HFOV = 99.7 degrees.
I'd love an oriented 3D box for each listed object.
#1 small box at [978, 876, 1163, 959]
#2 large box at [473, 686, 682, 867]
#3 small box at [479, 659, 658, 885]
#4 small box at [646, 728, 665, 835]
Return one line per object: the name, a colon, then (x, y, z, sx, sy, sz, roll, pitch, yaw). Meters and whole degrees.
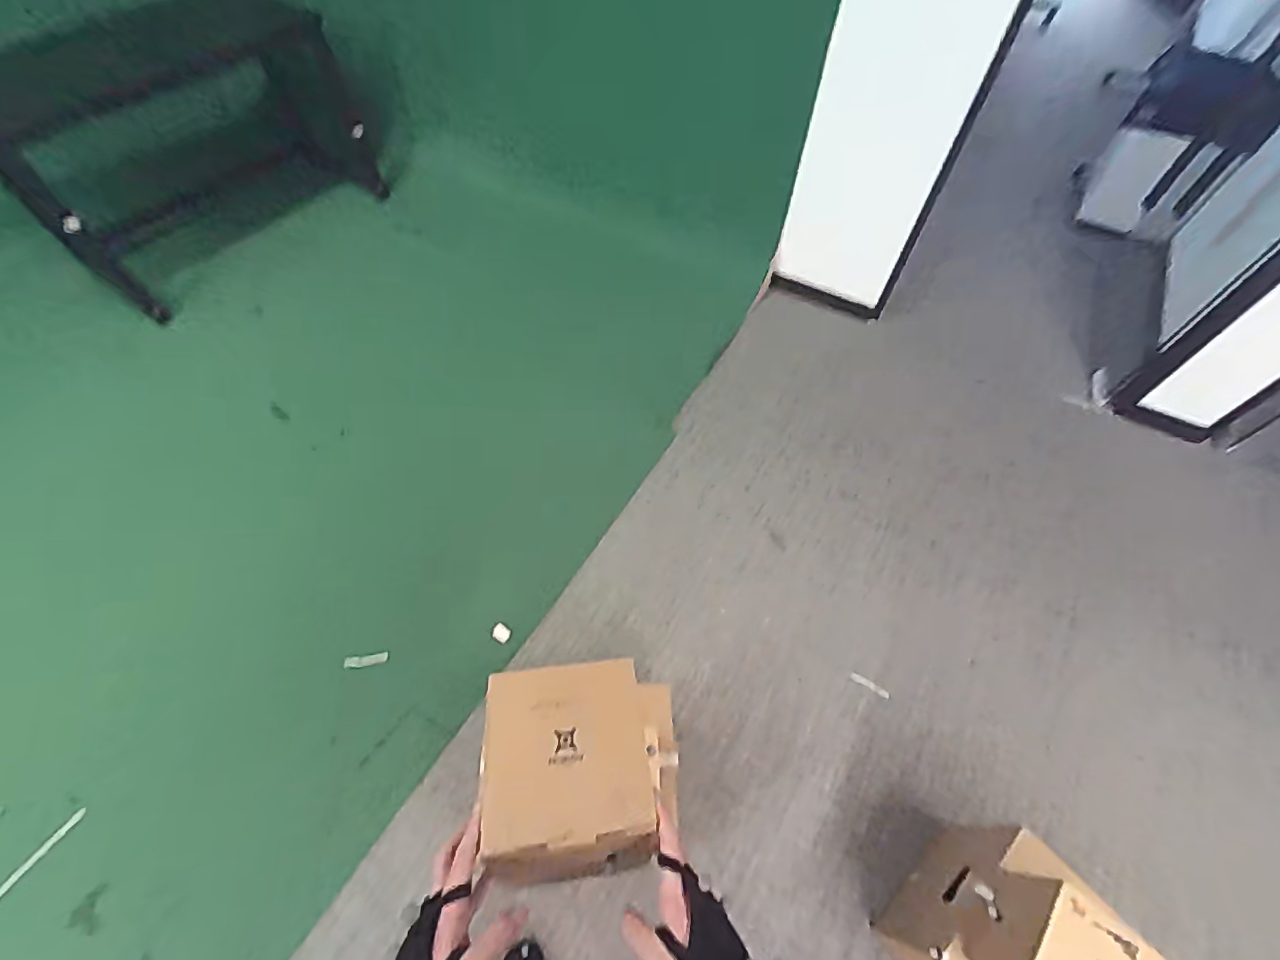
small box: (0.689, 0.787, 0.874, 0.168, 0.176, 0.179, 37, 65, 20)
large box: (-0.124, 0.674, 1.232, 0.408, 0.320, 0.320, -2, 56, -1)
small box: (-0.076, 0.327, 0.602, 0.168, 0.176, 0.179, -3, 43, -8)
small box: (-0.049, 0.564, 1.009, 0.179, 0.176, 0.168, -2, 58, -1)
